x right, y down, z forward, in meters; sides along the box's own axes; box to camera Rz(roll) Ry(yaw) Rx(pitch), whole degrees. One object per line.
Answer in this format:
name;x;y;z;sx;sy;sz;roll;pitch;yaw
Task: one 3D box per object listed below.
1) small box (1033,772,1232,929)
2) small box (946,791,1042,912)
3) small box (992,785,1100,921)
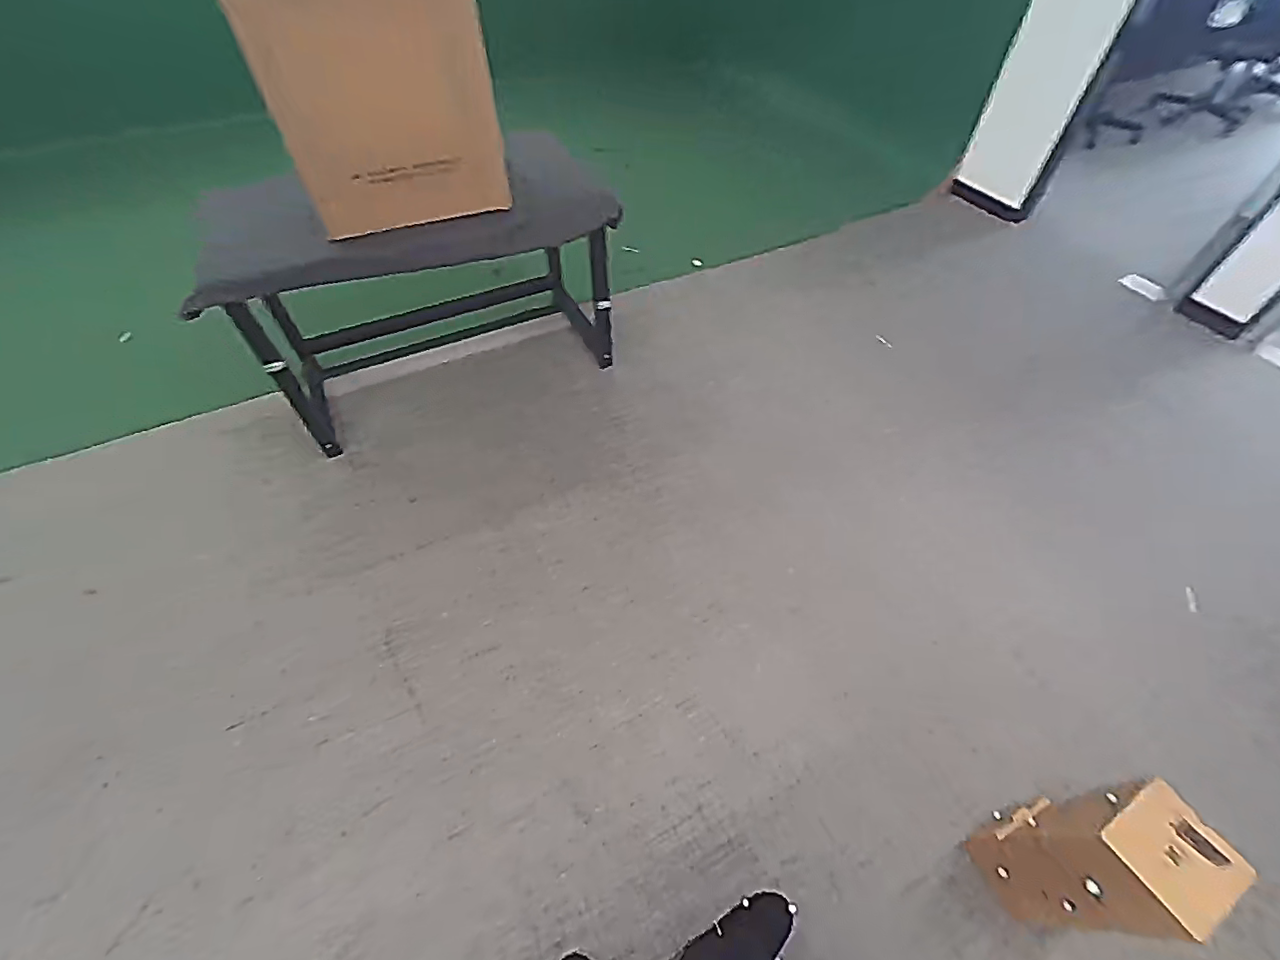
small box;0.868;0.662;0.974;0.179;0.176;0.168;-22;56;-19
small box;0.864;0.866;1.257;0.168;0.176;0.179;-22;58;-20
small box;0.869;0.762;1.108;0.179;0.176;0.168;-20;58;-19
